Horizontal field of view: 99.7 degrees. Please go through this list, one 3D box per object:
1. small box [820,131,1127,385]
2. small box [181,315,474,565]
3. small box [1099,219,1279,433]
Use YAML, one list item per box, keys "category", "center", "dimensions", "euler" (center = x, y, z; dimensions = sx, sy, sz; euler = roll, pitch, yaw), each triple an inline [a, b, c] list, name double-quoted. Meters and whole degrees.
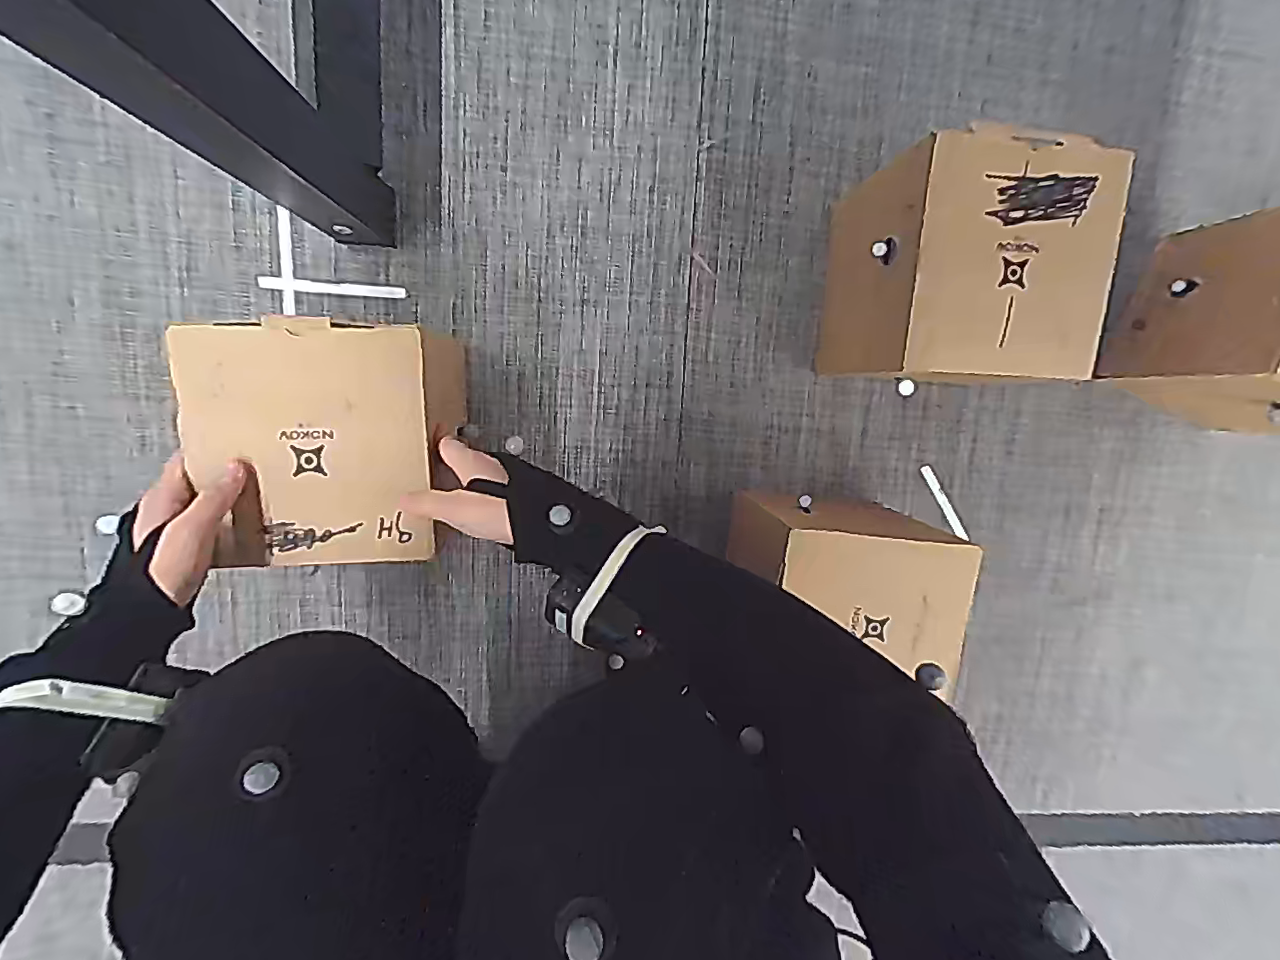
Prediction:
- category: "small box"
  center: [0.281, -0.181, 0.498]
  dimensions: [0.168, 0.176, 0.179]
  euler: [2, 99, -6]
- category: "small box"
  center: [-0.241, -0.036, 0.464]
  dimensions: [0.168, 0.176, 0.179]
  euler: [-1, 98, -8]
- category: "small box"
  center: [0.634, -0.149, 0.541]
  dimensions: [0.179, 0.176, 0.168]
  euler: [20, 97, -8]
